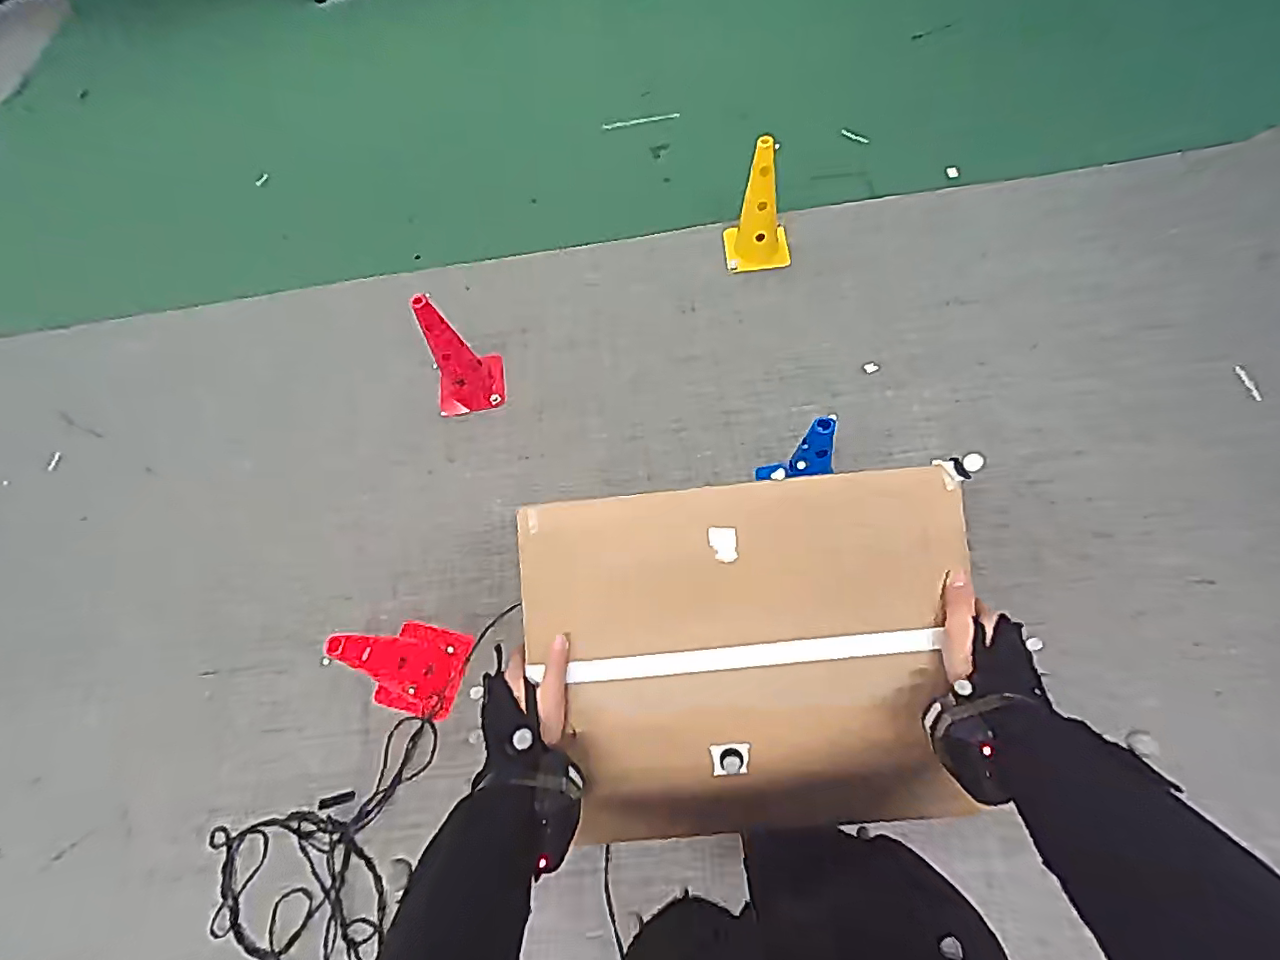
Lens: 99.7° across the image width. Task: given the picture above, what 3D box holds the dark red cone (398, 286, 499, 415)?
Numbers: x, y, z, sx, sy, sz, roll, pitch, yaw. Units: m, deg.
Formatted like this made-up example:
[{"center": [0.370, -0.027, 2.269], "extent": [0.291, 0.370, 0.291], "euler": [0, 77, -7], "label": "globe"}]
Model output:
[{"center": [-0.550, -0.373, 1.504], "extent": [0.202, 0.394, 0.201], "euler": [-14, 59, 1], "label": "dark red cone"}]

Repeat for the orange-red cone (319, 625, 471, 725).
[{"center": [-0.546, 0.380, 1.142], "extent": [0.199, 0.360, 0.198], "euler": [10, 64, 15], "label": "orange-red cone"}]
